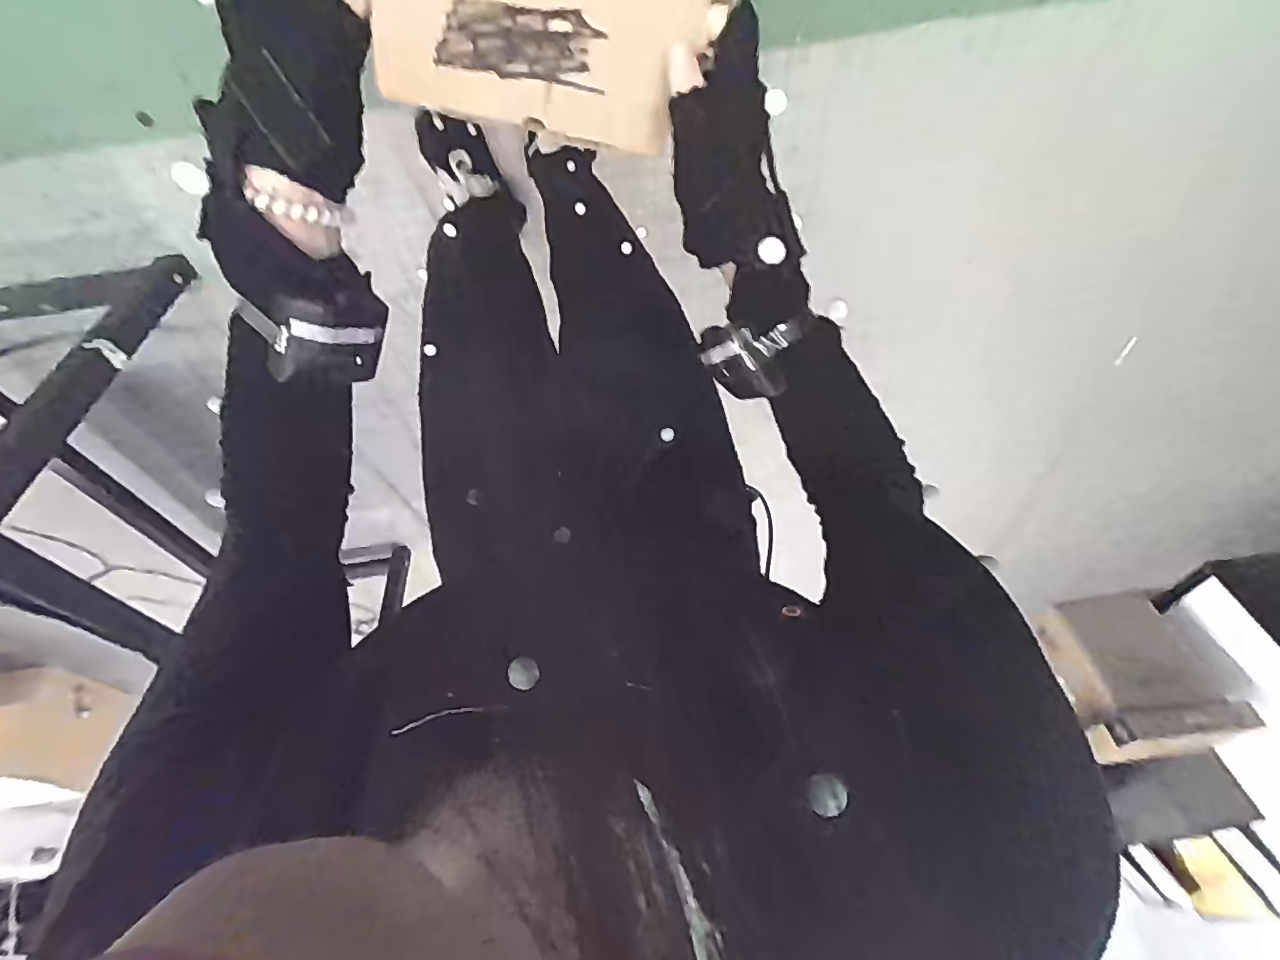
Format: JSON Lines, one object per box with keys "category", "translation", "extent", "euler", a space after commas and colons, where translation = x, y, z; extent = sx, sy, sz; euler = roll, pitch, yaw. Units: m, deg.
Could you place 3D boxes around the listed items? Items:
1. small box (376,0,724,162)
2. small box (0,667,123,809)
{"category": "small box", "translation": [-0.052, -0.311, 0.285], "extent": [0.168, 0.176, 0.179], "euler": [-4, 145, -24]}
{"category": "small box", "translation": [-1.035, 0.428, 0.894], "extent": [0.179, 0.176, 0.168], "euler": [-9, 141, 0]}
